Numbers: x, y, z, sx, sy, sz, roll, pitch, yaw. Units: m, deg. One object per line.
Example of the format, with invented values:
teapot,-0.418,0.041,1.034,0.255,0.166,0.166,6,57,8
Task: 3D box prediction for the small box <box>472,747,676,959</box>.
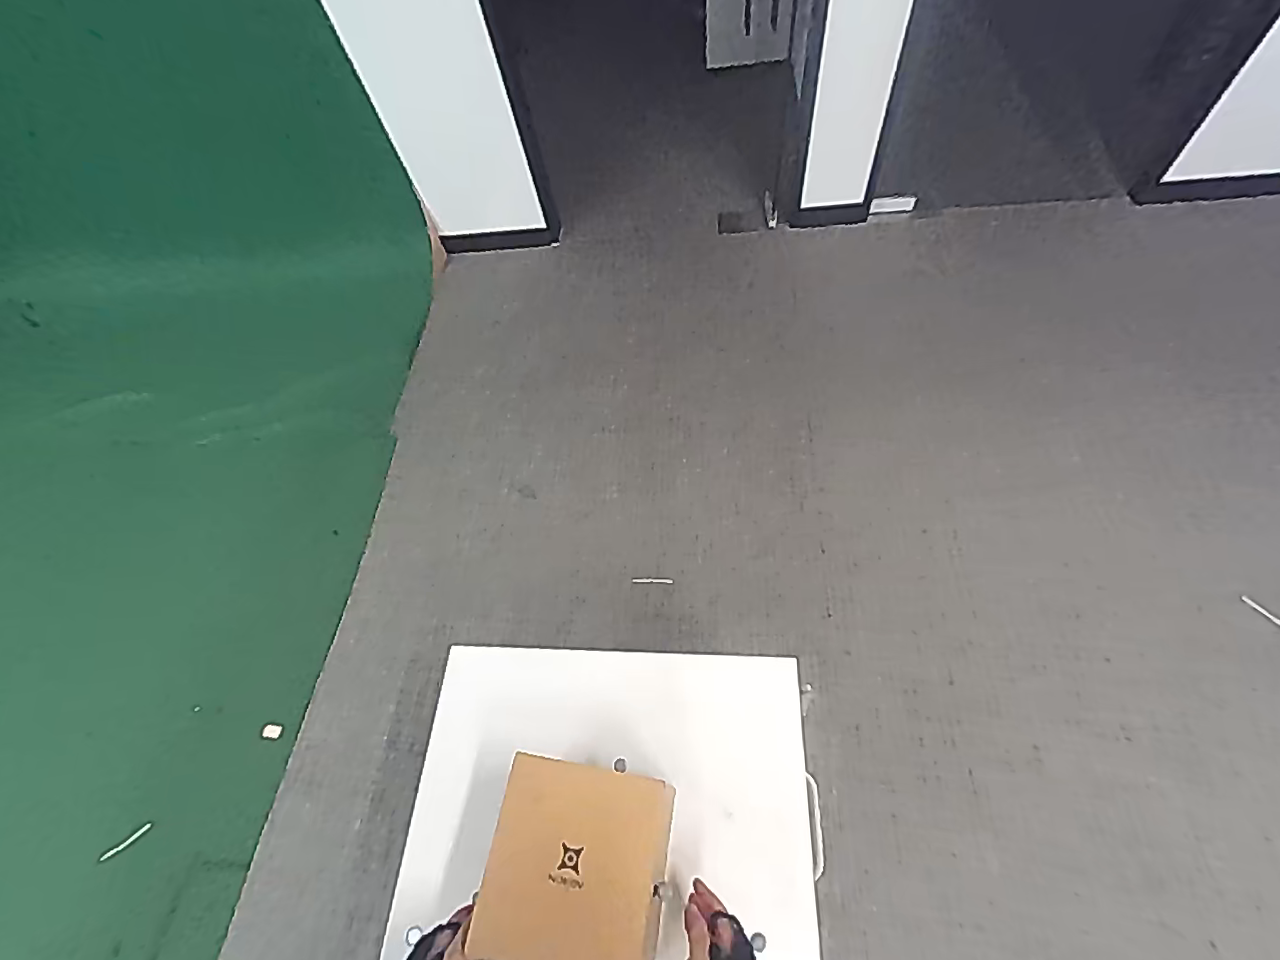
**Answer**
small box,-0.053,0.408,0.591,0.168,0.176,0.179,5,61,11
